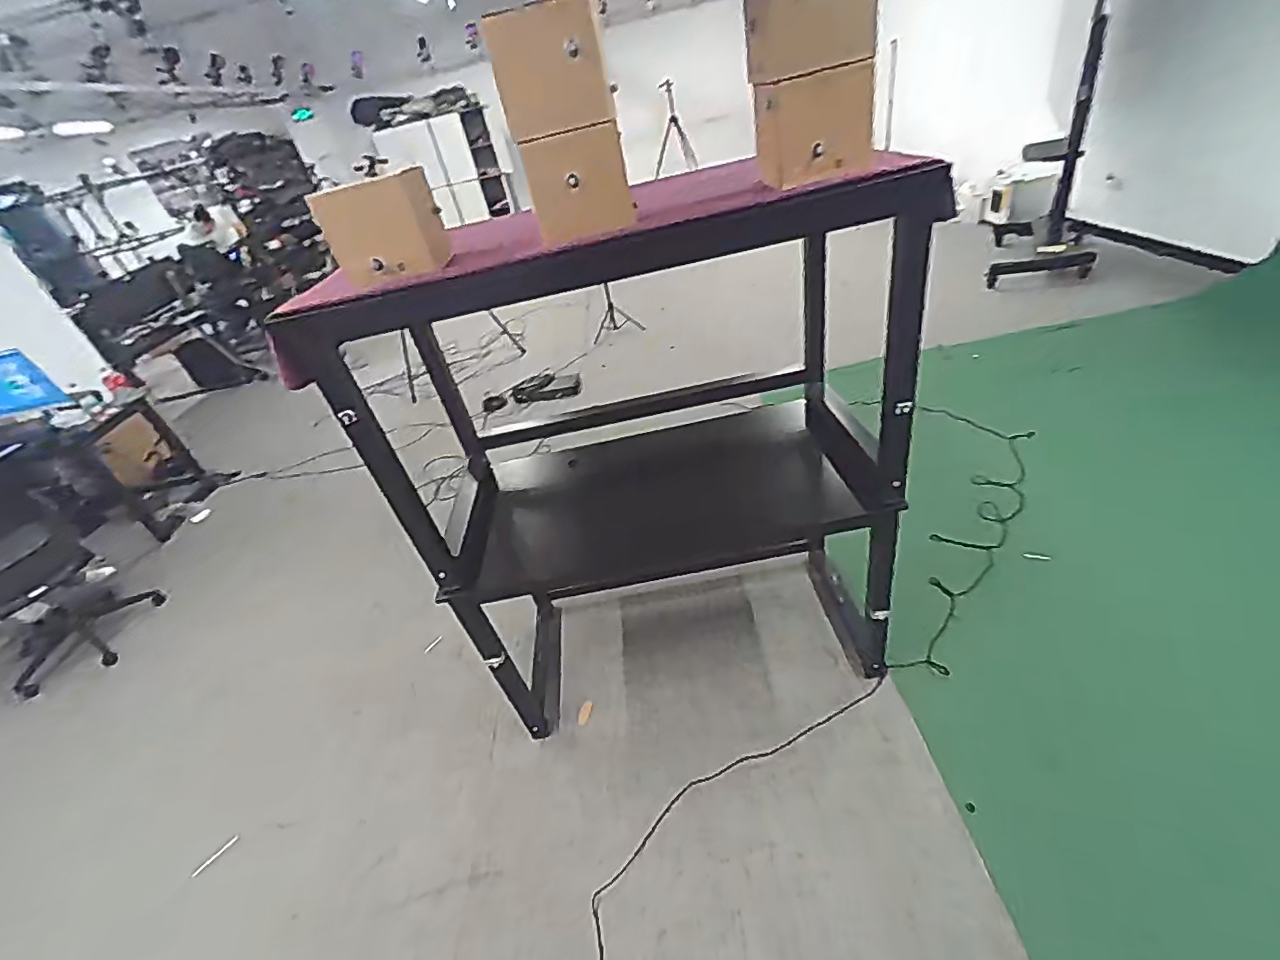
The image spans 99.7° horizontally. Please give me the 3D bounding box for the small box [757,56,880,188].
[{"bbox_3d":[0.316,-0.648,0.986,0.168,0.176,0.179,-12,36,4],"label":"small box"}]

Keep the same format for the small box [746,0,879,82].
[{"bbox_3d":[0.277,-0.772,0.884,0.179,0.176,0.168,-12,37,4],"label":"small box"}]

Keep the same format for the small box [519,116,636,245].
[{"bbox_3d":[-0.105,-0.557,1.005,0.179,0.176,0.168,-12,34,5],"label":"small box"}]

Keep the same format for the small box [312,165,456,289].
[{"bbox_3d":[-0.465,-0.475,1.017,0.168,0.176,0.179,-13,35,2],"label":"small box"}]
